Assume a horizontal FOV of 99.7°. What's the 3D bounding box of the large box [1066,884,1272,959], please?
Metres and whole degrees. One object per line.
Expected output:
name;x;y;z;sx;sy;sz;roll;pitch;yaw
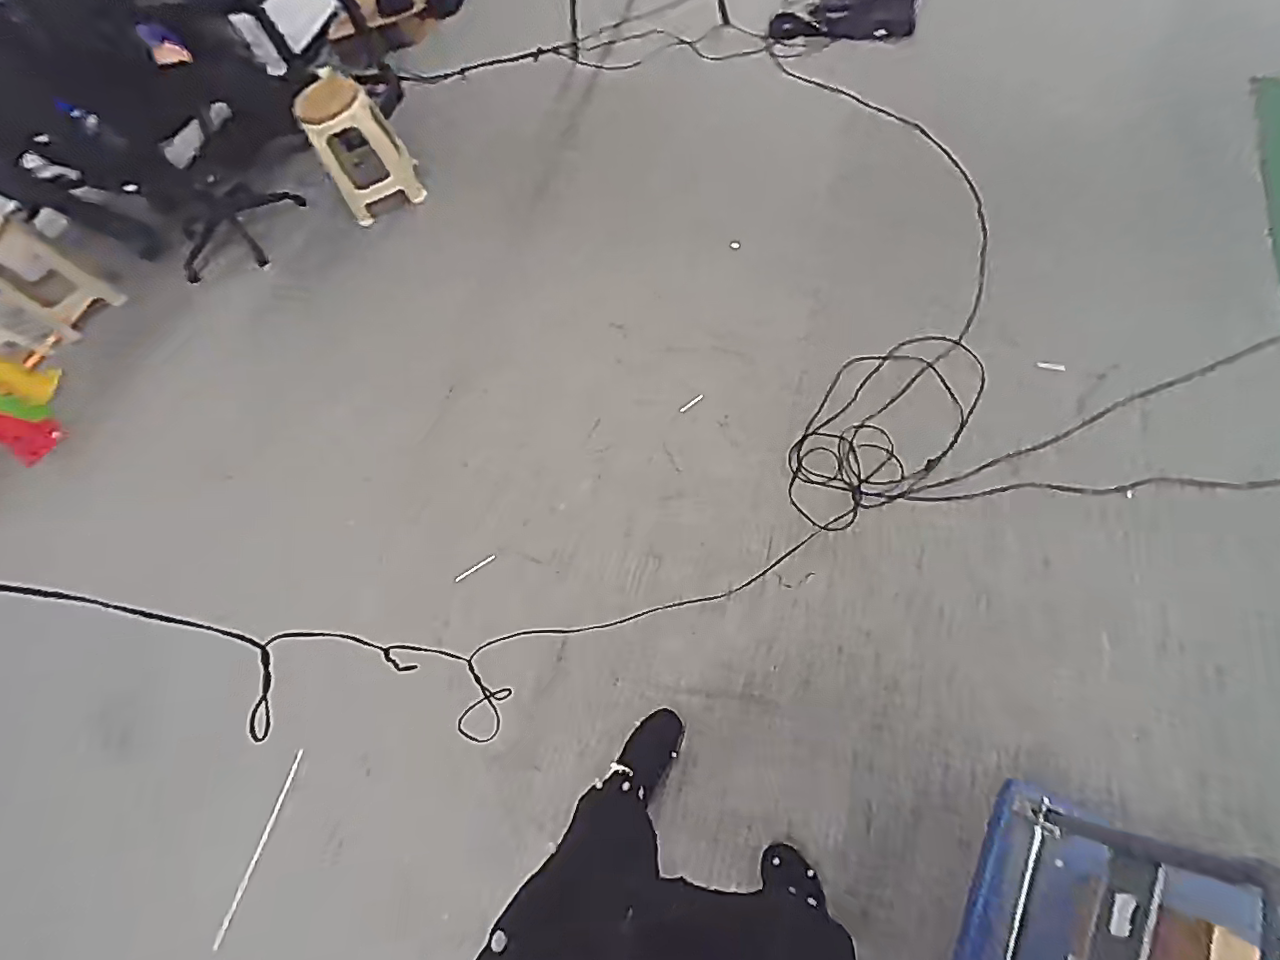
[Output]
large box;0.894;0.874;0.757;0.408;0.320;0.320;25;72;20
